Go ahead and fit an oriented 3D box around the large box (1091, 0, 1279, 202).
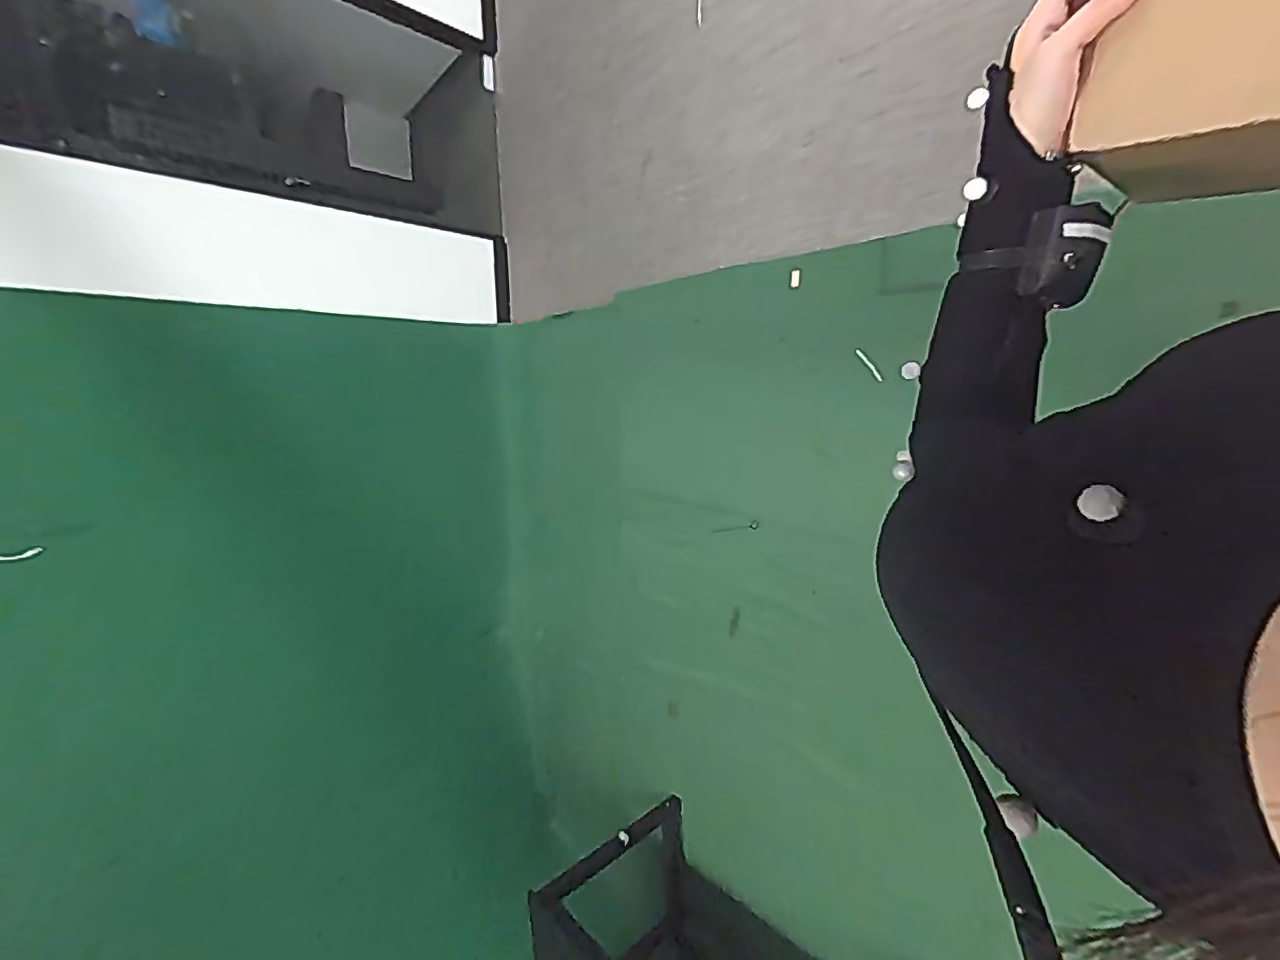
[{"bbox_3d":[0.550,-0.374,0.297,0.408,0.320,0.320,15,114,44],"label":"large box"}]
